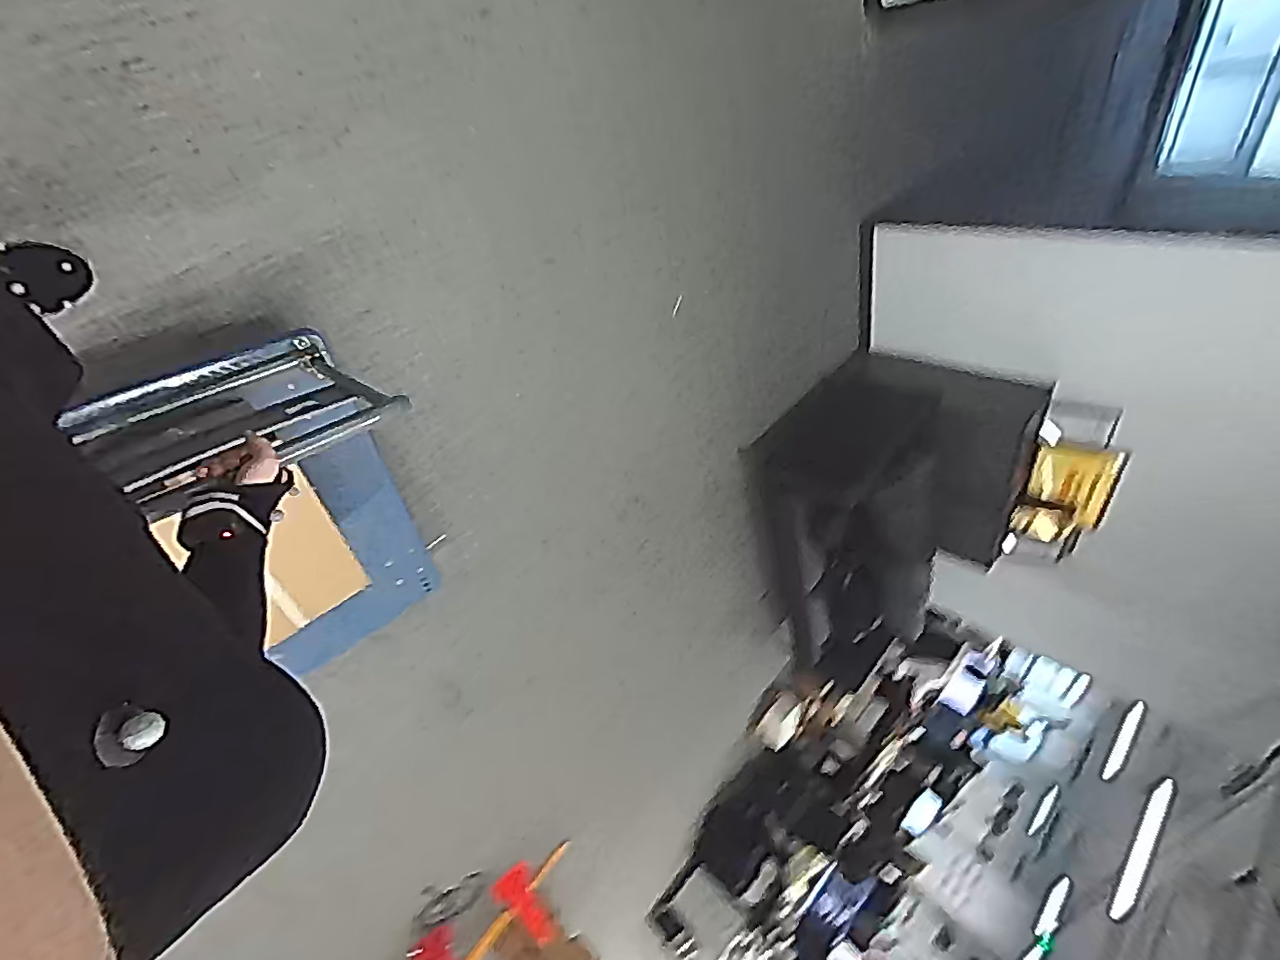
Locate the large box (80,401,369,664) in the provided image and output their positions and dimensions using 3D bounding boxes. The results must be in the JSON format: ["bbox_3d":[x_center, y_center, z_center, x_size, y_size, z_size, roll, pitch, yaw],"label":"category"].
[{"bbox_3d":[-0.872,0.099,1.165,0.320,0.320,0.408,-34,133,-30],"label":"large box"}]
